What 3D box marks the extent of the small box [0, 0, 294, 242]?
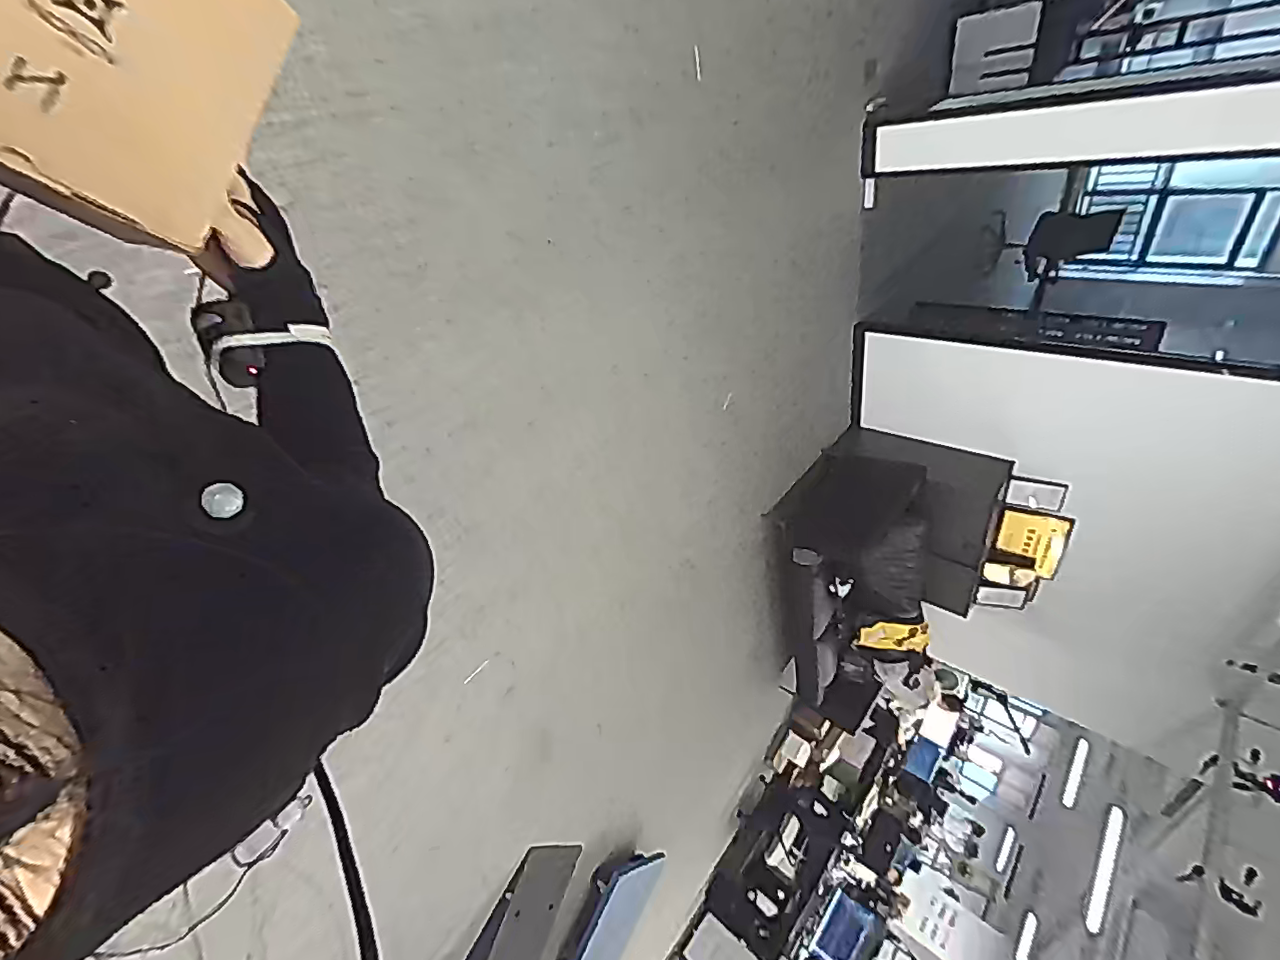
[{"bbox_3d":[-0.356,-0.270,0.319,0.168,0.176,0.179,26,84,-58],"label":"small box"}]
